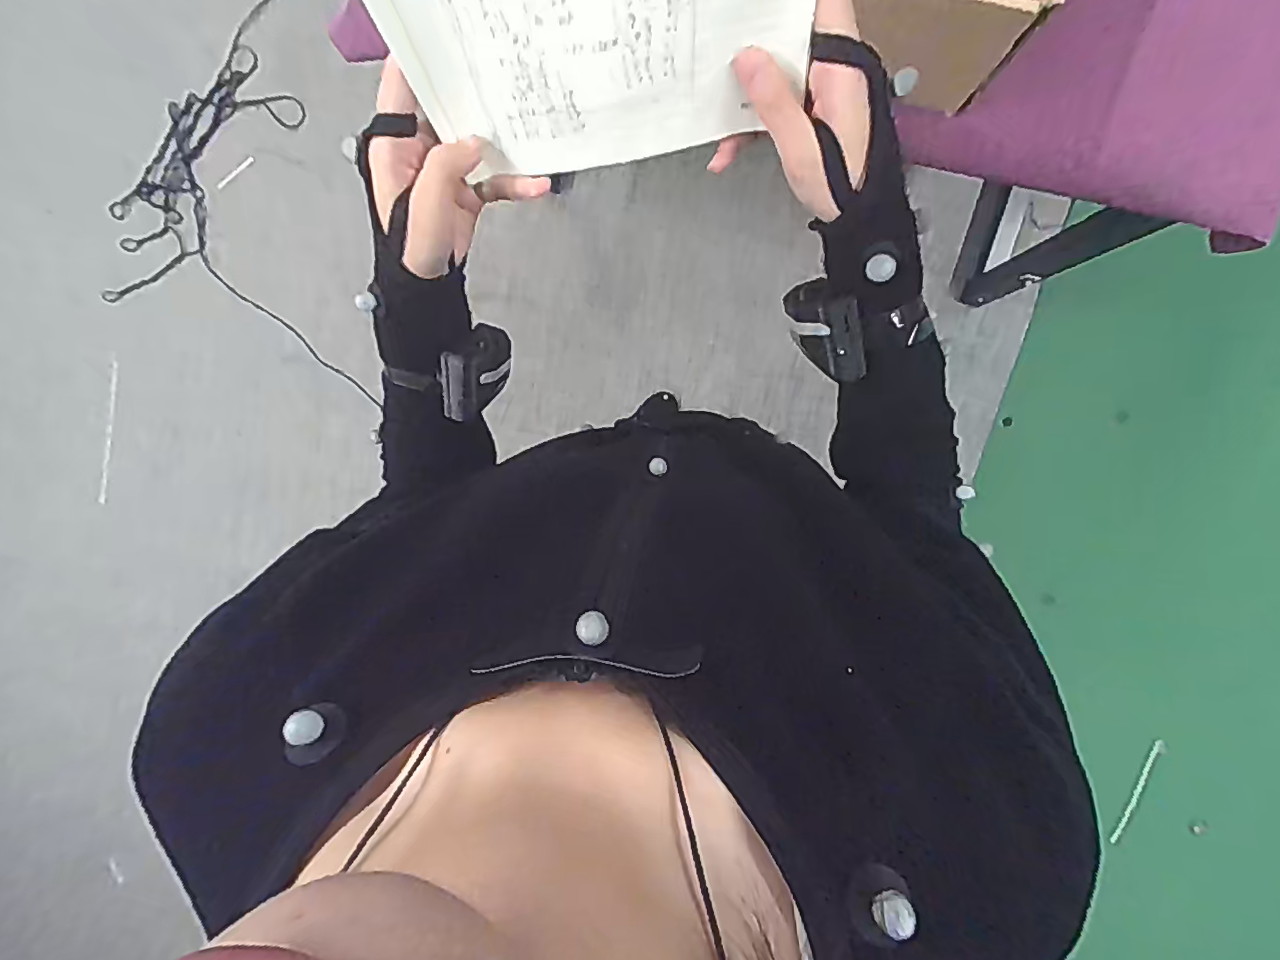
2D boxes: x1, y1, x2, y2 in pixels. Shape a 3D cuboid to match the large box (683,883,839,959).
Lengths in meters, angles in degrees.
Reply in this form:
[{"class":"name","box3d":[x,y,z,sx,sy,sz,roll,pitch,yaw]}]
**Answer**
[{"class":"large box","box3d":[0.320,1.377,1.474,0.408,0.320,0.320,1,97,6]}]
